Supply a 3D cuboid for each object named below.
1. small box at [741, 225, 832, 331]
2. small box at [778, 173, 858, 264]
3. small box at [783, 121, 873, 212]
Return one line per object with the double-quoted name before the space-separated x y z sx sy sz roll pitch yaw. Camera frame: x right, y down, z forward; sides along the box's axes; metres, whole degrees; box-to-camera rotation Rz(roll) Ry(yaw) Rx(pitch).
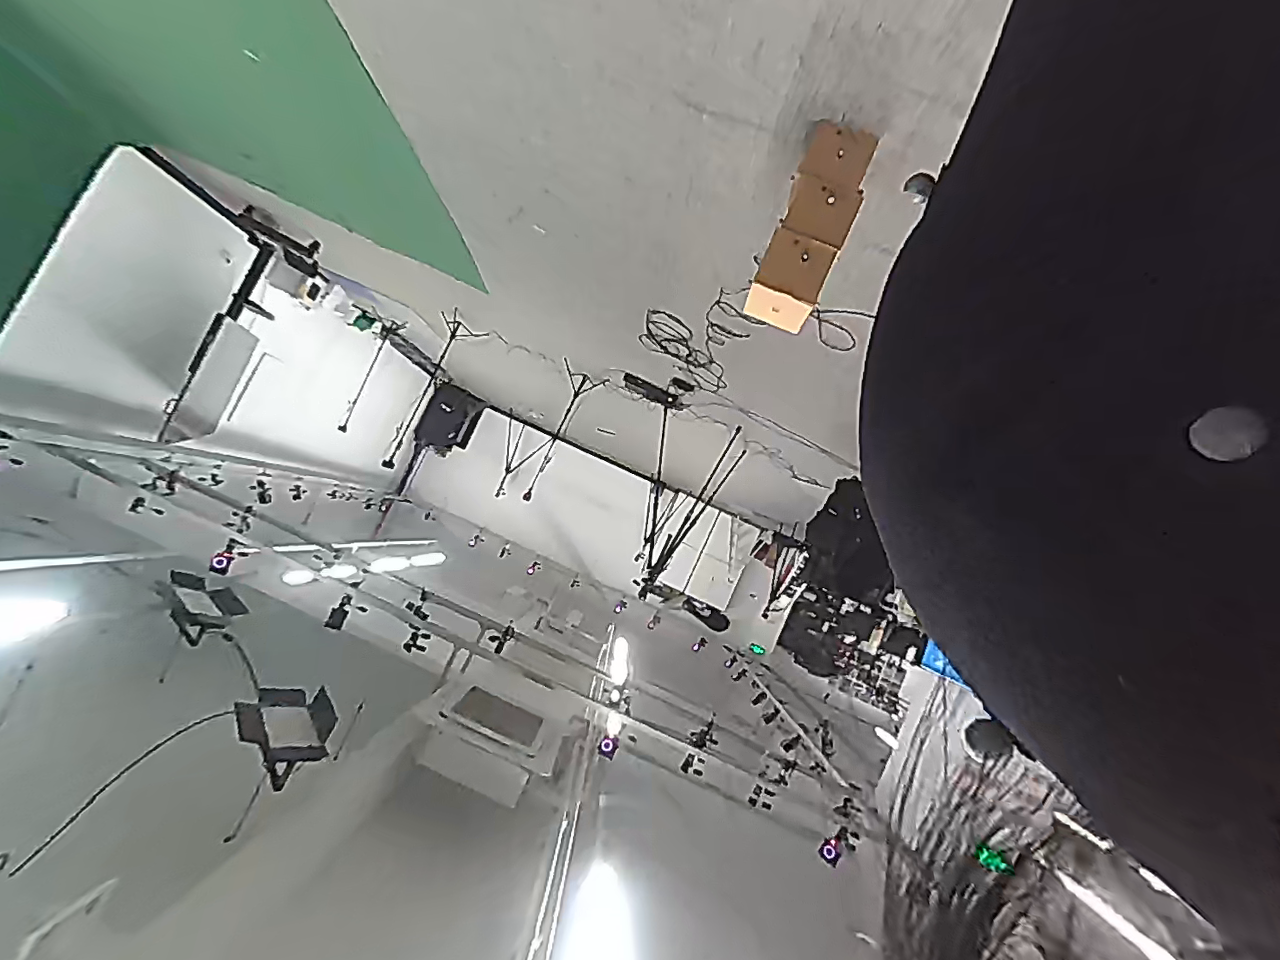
"small box" 0.386 -0.531 1.432 0.168 0.176 0.179 24 173 6
"small box" 0.459 -0.675 1.452 0.168 0.176 0.179 24 173 5
"small box" 0.511 -0.830 1.474 0.168 0.176 0.179 24 175 8
